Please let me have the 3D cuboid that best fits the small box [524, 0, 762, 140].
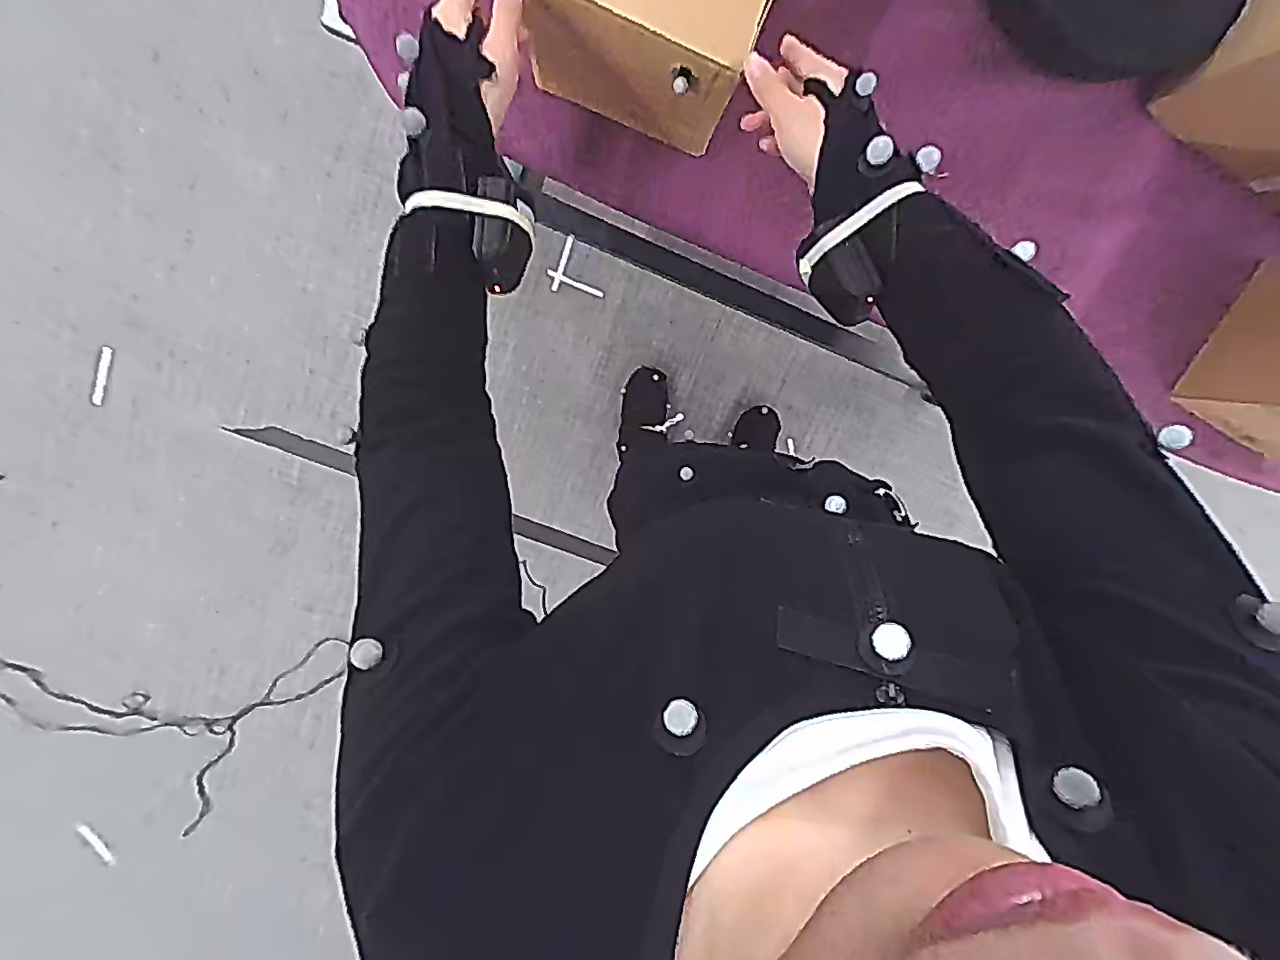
[{"bbox_3d":[0.009,-0.412,0.433,0.179,0.176,0.168,18,101,-9],"label":"small box"}]
